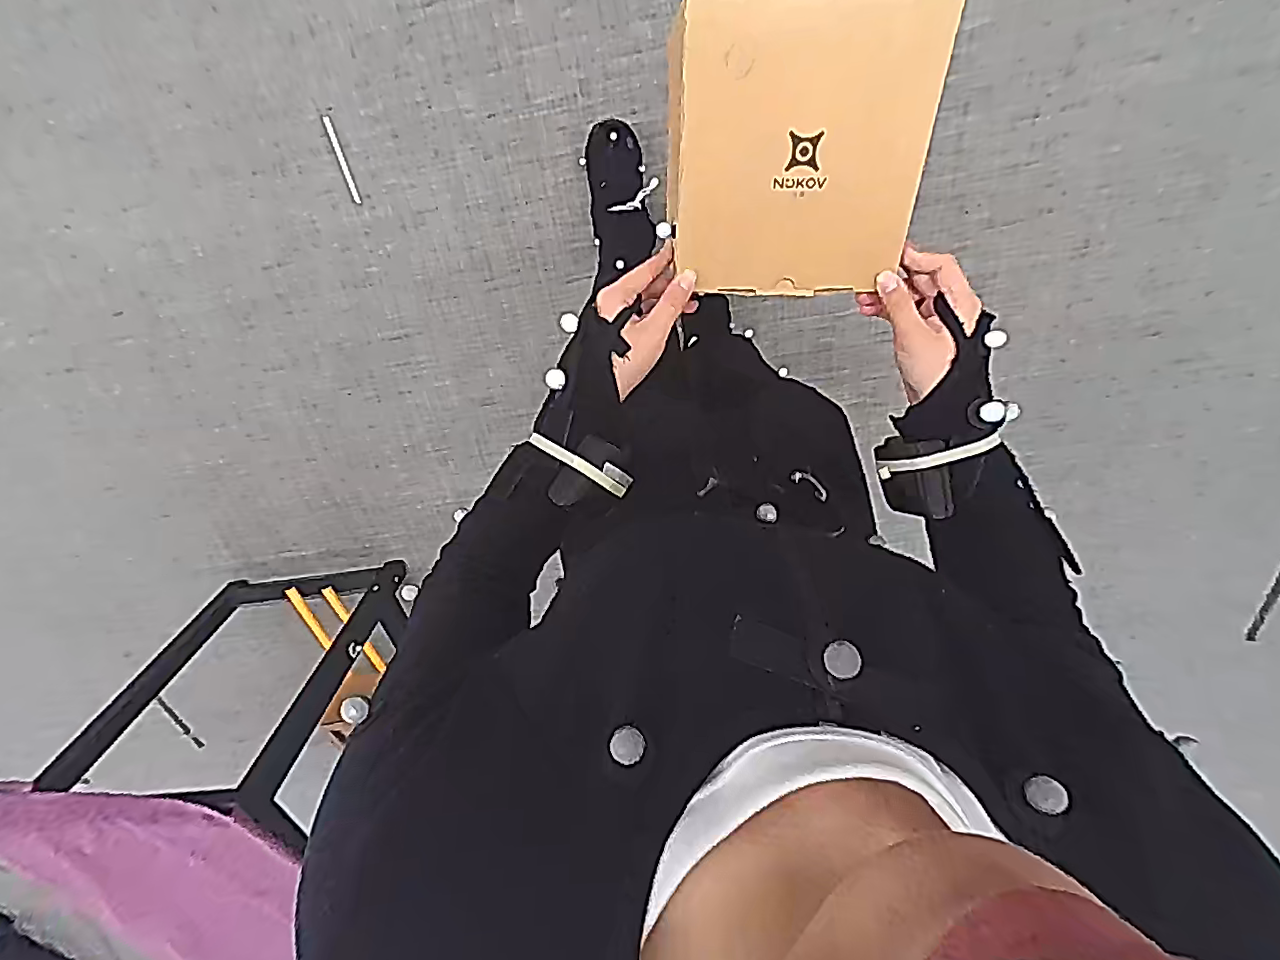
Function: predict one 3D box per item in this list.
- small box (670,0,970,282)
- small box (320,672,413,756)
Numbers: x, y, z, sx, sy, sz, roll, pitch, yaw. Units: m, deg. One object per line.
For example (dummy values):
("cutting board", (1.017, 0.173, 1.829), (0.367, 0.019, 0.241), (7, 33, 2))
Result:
("small box", (0.110, -0.264, 0.420), (0.168, 0.176, 0.179), (-1, 124, 0))
("small box", (-0.839, 0.722, 1.677), (0.179, 0.176, 0.168), (-11, 122, 5))
